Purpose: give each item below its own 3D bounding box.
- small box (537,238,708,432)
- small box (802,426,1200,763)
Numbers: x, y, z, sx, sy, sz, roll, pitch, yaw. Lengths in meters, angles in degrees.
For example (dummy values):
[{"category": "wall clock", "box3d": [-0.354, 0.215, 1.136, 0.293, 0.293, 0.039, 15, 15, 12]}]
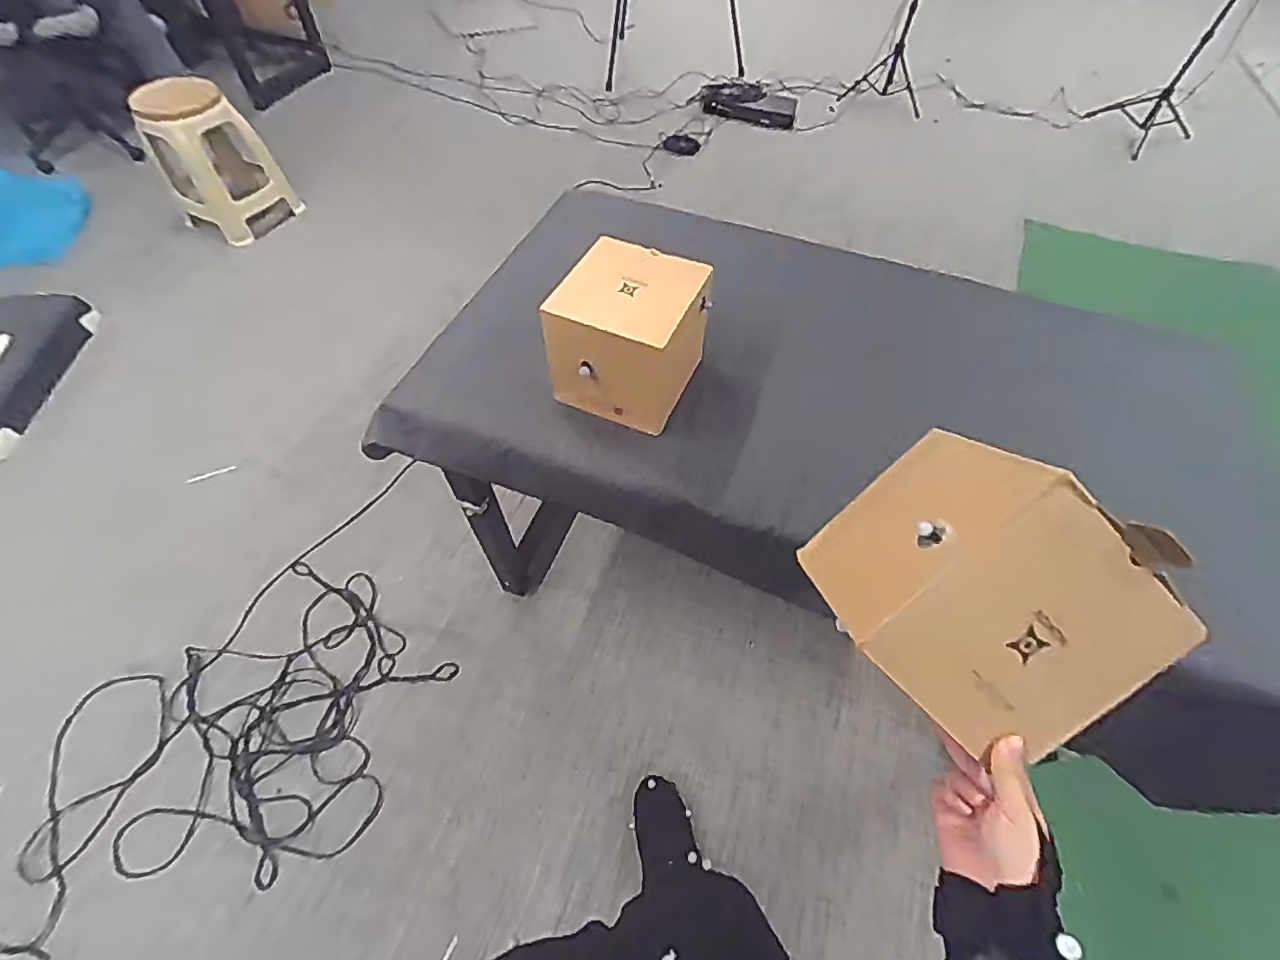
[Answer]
[{"category": "small box", "box3d": [-0.019, -0.195, 0.744, 0.168, 0.176, 0.179, 20, 56, 12]}, {"category": "small box", "box3d": [0.266, 0.076, 0.447, 0.168, 0.176, 0.179, 42, 101, -9]}]
